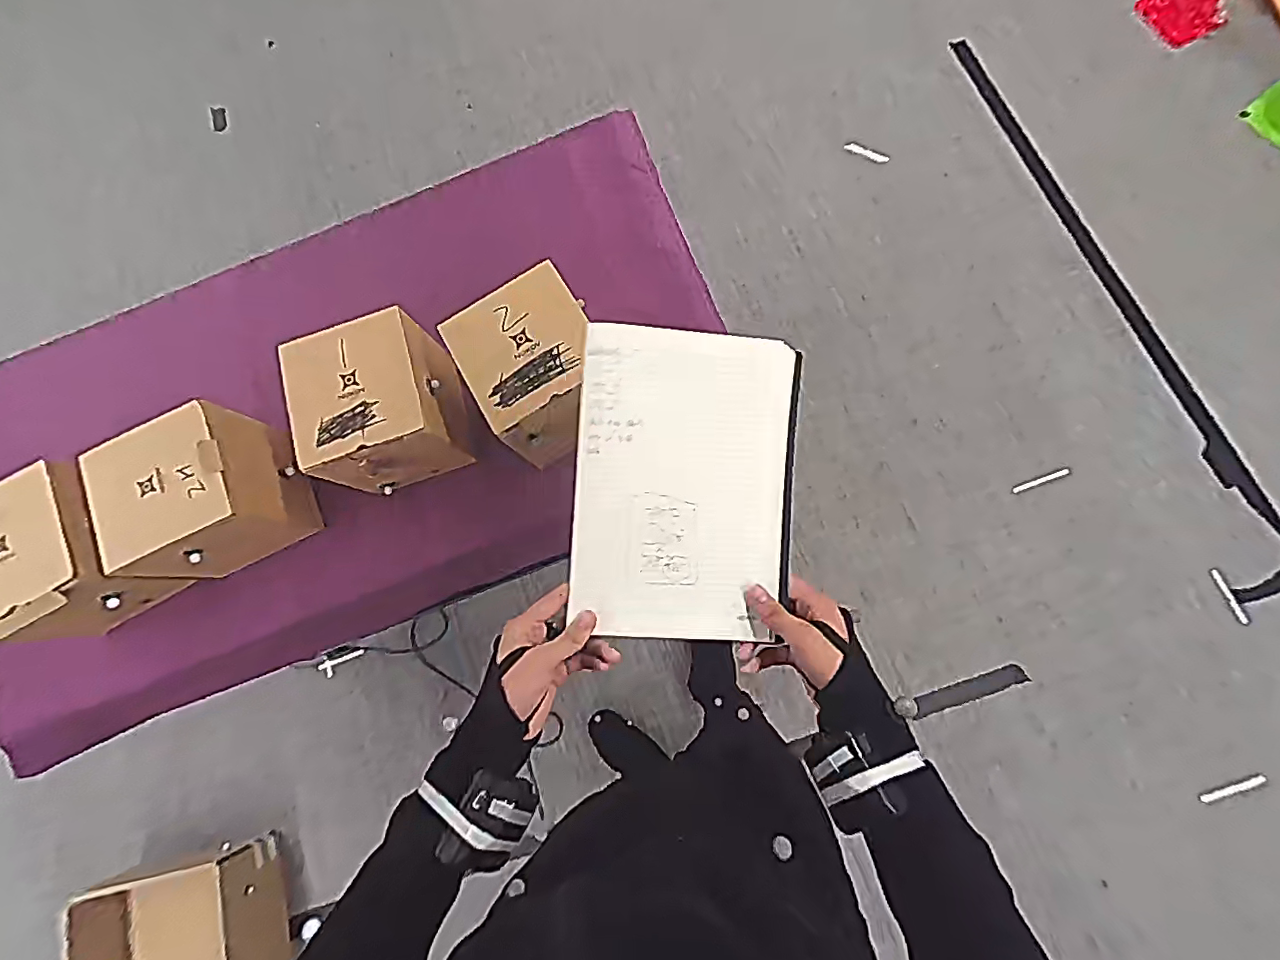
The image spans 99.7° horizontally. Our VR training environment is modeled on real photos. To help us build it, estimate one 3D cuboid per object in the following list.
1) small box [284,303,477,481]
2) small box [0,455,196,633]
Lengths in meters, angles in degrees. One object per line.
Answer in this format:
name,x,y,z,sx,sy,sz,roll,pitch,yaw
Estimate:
small box,-0.344,-0.106,0.745,0.168,0.176,0.179,-18,77,2
small box,-0.775,0.092,0.753,0.168,0.176,0.179,-28,77,-1
